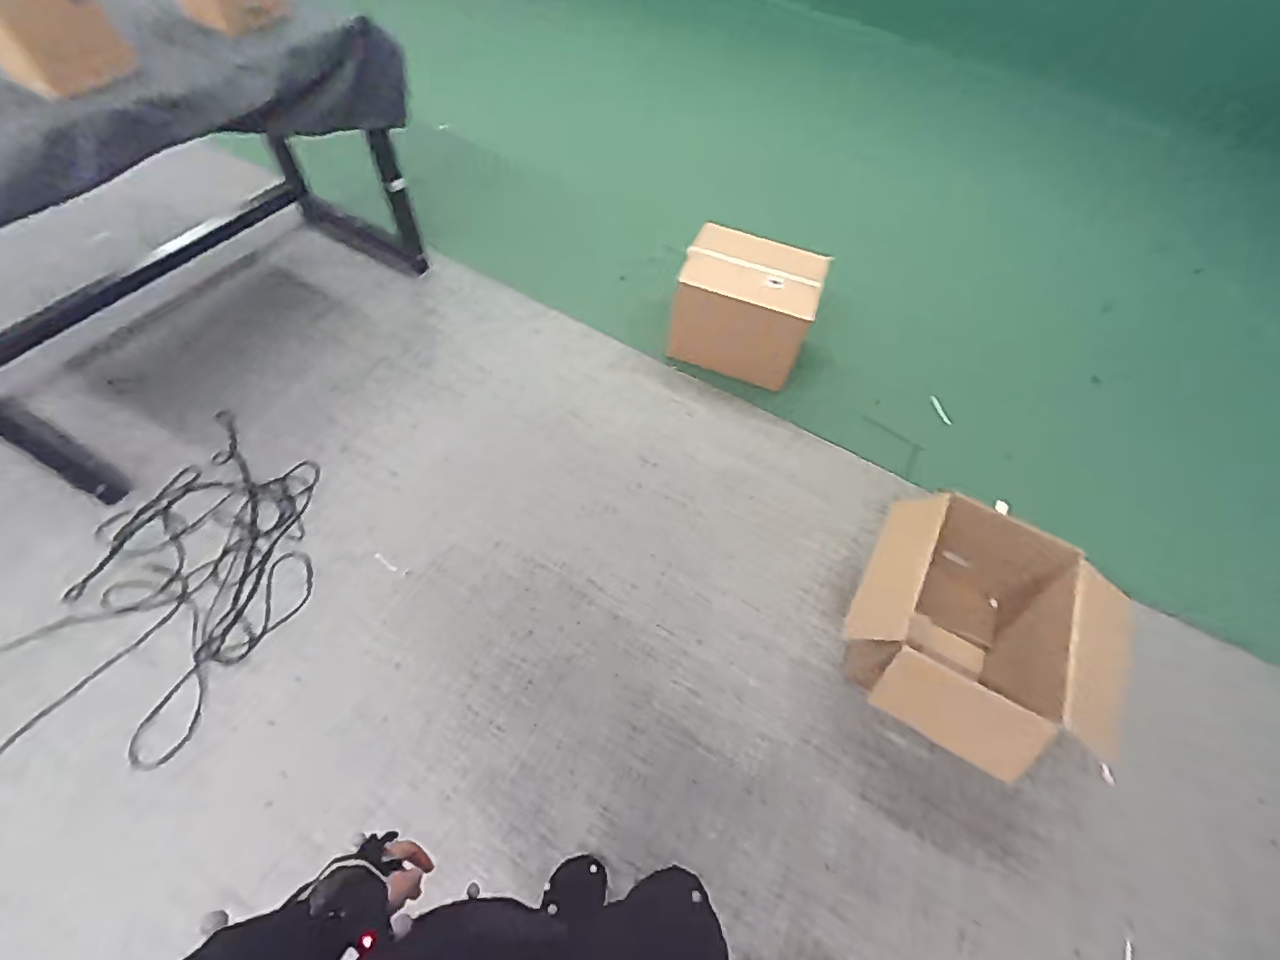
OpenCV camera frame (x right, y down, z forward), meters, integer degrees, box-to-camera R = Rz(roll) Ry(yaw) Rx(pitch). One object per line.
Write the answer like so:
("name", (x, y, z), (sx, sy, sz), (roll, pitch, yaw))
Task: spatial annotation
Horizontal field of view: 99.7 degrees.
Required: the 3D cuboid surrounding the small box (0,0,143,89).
("small box", (-1.104, -0.864, 1.004), (0.168, 0.176, 0.179), (29, 59, 12))
